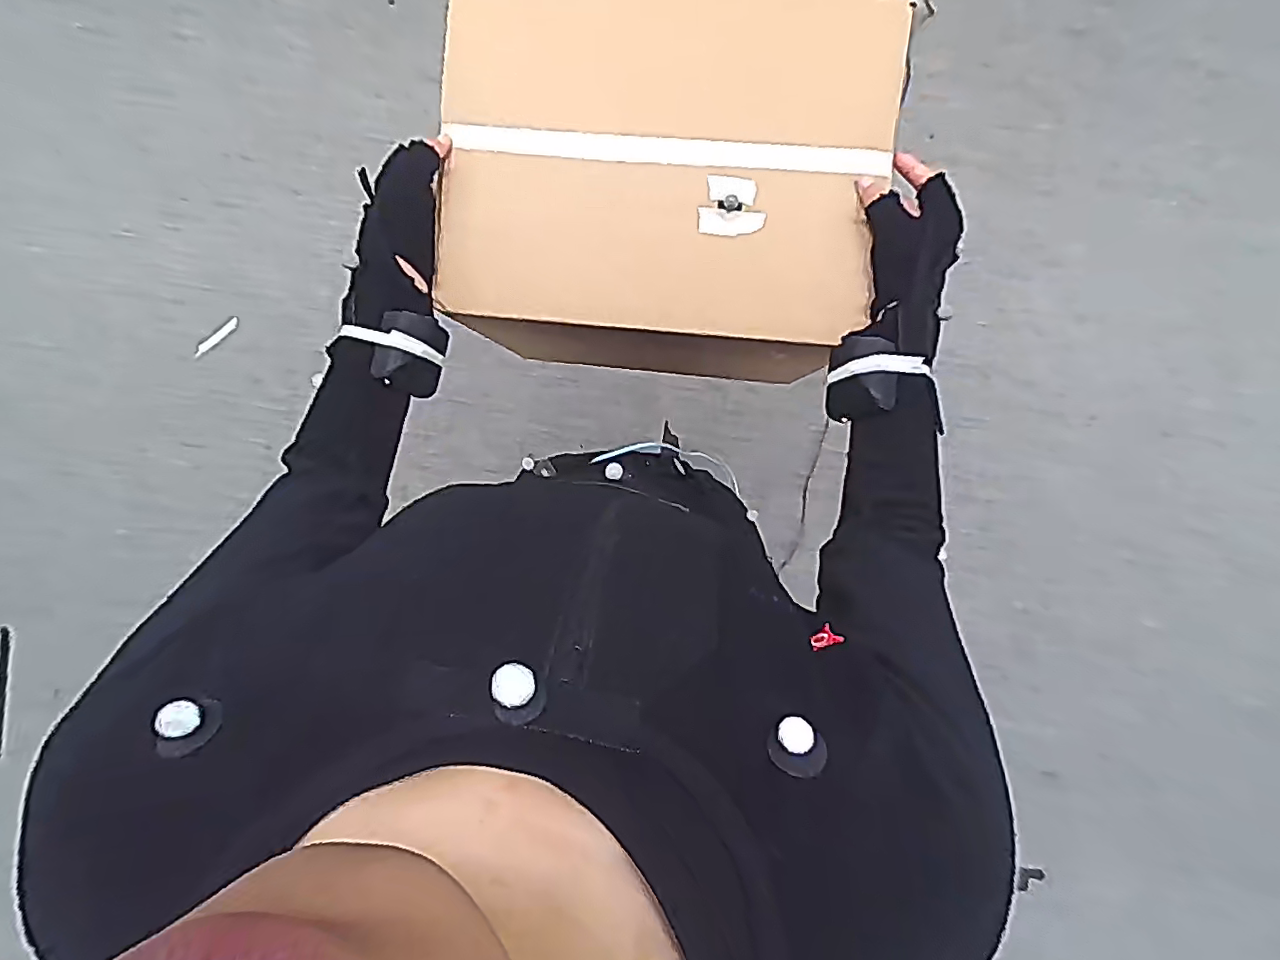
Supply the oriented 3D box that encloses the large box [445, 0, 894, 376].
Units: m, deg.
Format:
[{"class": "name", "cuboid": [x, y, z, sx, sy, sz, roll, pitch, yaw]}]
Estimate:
[{"class": "large box", "cuboid": [0.025, -0.309, 0.650, 0.408, 0.320, 0.320, 6, 95, 2]}]
